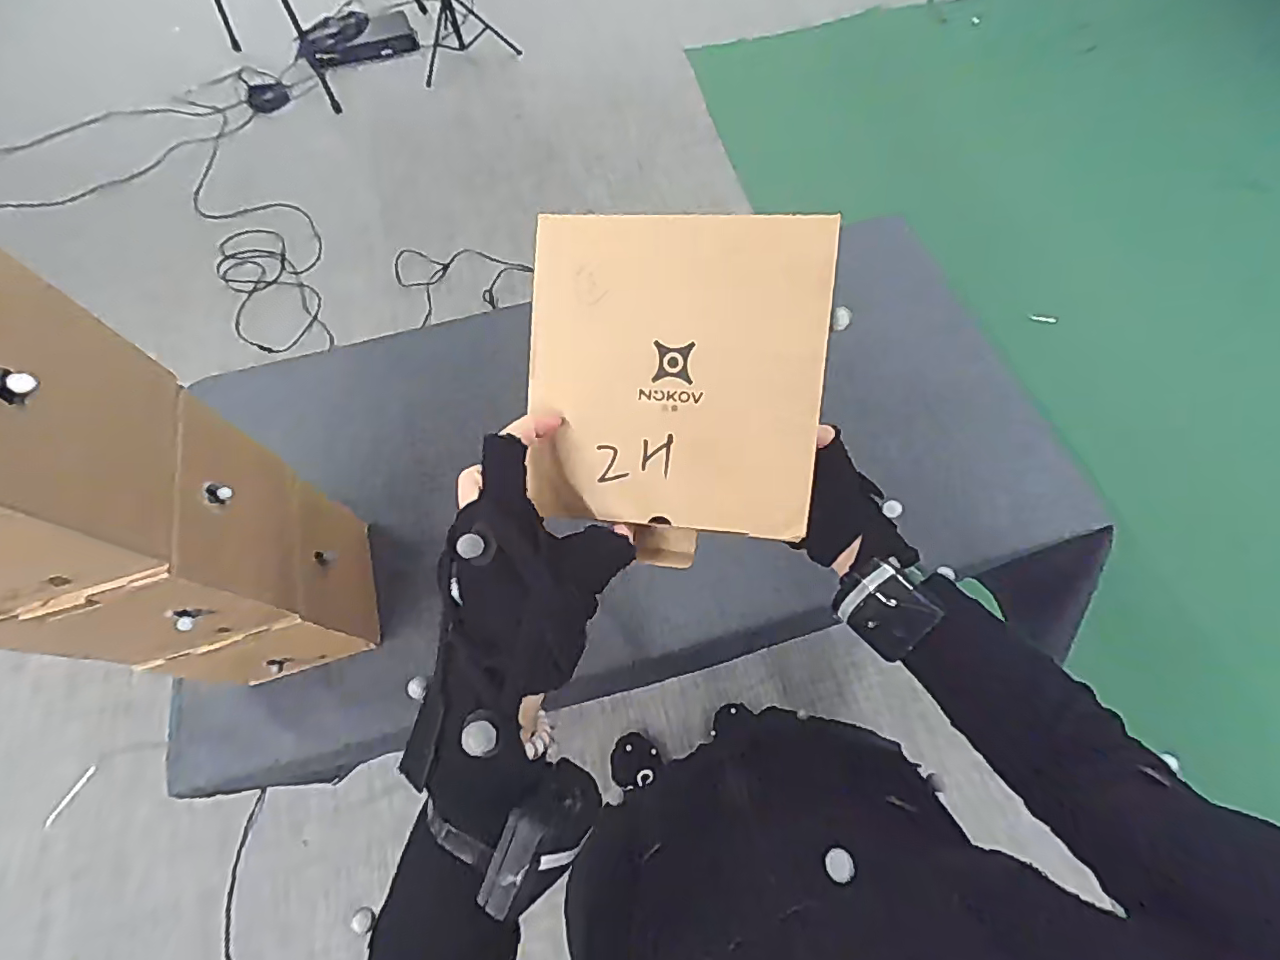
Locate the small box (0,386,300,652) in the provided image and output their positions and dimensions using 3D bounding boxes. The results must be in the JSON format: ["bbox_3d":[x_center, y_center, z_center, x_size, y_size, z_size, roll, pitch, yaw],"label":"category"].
[{"bbox_3d":[-0.439,0.047,0.492,0.168,0.176,0.179,-15,66,-6],"label":"small box"}]

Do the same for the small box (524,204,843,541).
[{"bbox_3d":[0.032,-0.070,0.380,0.168,0.176,0.179,7,99,11],"label":"small box"}]

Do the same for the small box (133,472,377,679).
[{"bbox_3d":[-0.434,0.119,0.638,0.168,0.176,0.179,-16,66,-5],"label":"small box"}]

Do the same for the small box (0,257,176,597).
[{"bbox_3d":[-0.446,-0.027,0.347,0.168,0.176,0.179,-16,66,-7],"label":"small box"}]
